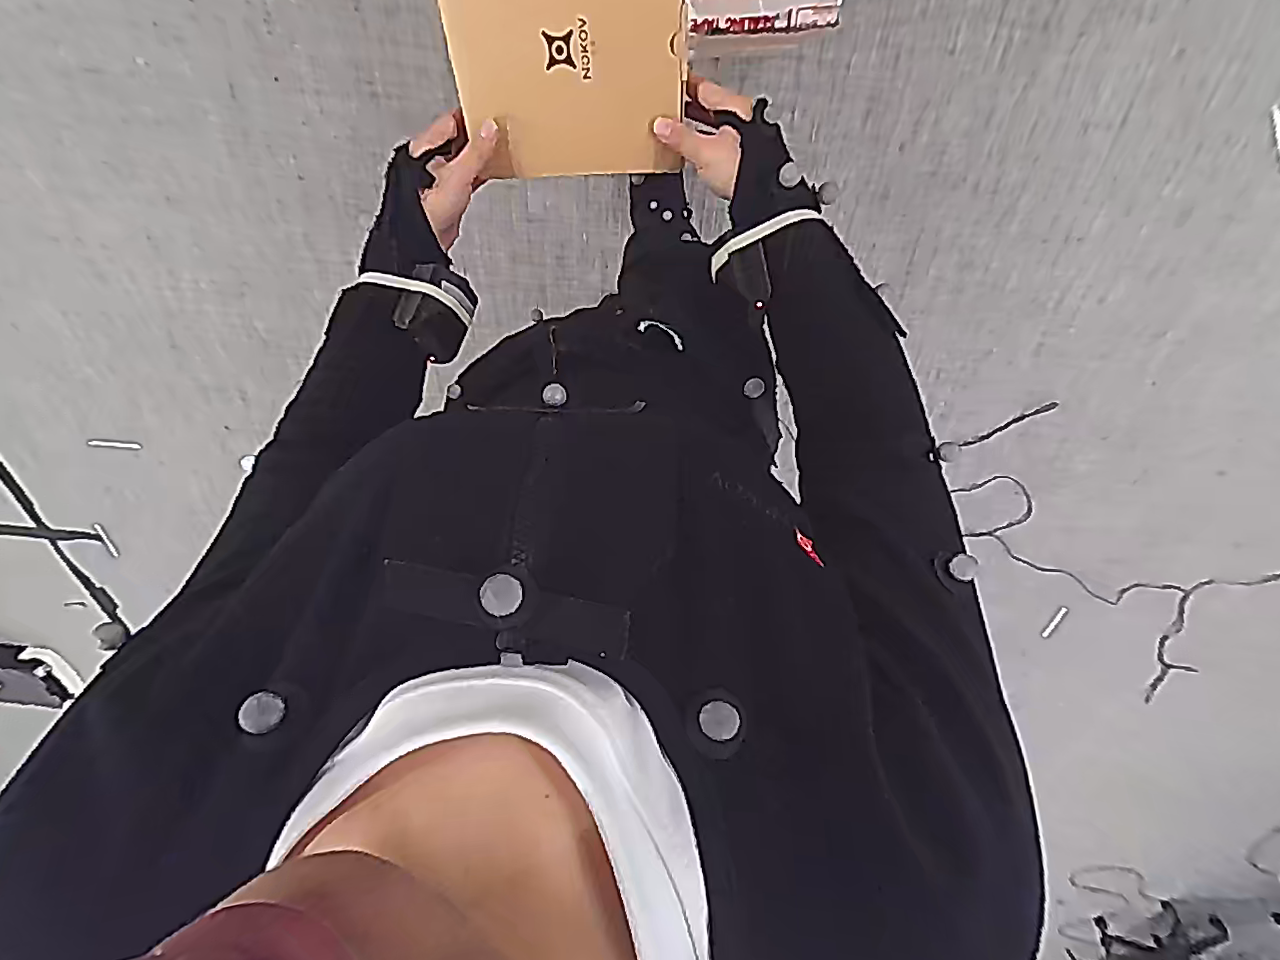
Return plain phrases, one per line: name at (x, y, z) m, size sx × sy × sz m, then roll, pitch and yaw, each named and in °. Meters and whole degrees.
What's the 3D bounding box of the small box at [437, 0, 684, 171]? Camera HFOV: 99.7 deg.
small box at (-0.052, -0.372, 0.456) m, size 0.179 × 0.176 × 0.168 m, roll -1°, pitch 132°, yaw 3°
